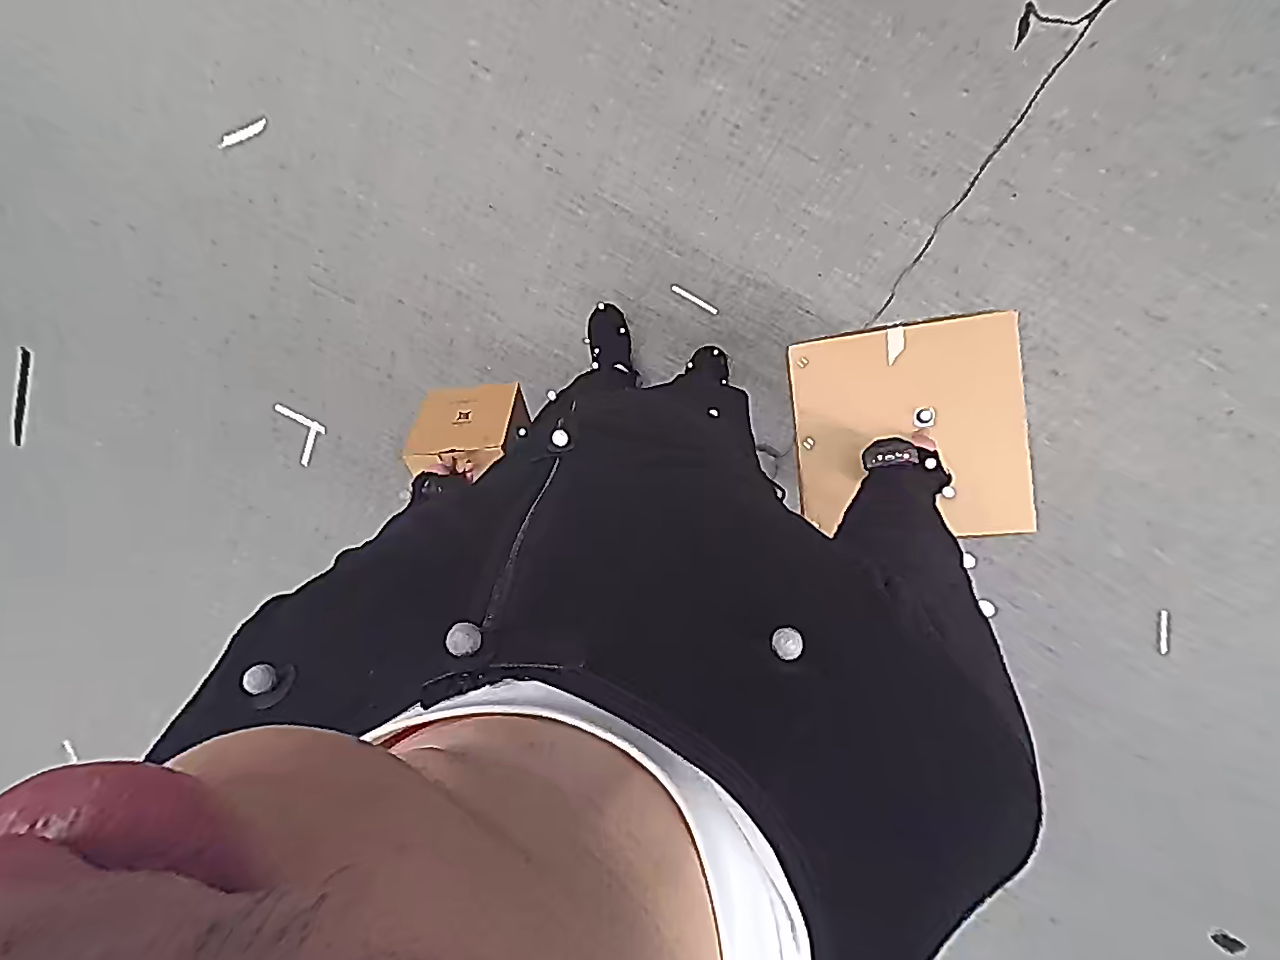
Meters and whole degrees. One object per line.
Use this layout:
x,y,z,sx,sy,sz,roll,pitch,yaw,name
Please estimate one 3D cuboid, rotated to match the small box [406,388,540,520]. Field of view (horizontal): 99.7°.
-0.288,-0.040,0.976,0.168,0.179,0.176,-5,134,5,small box
